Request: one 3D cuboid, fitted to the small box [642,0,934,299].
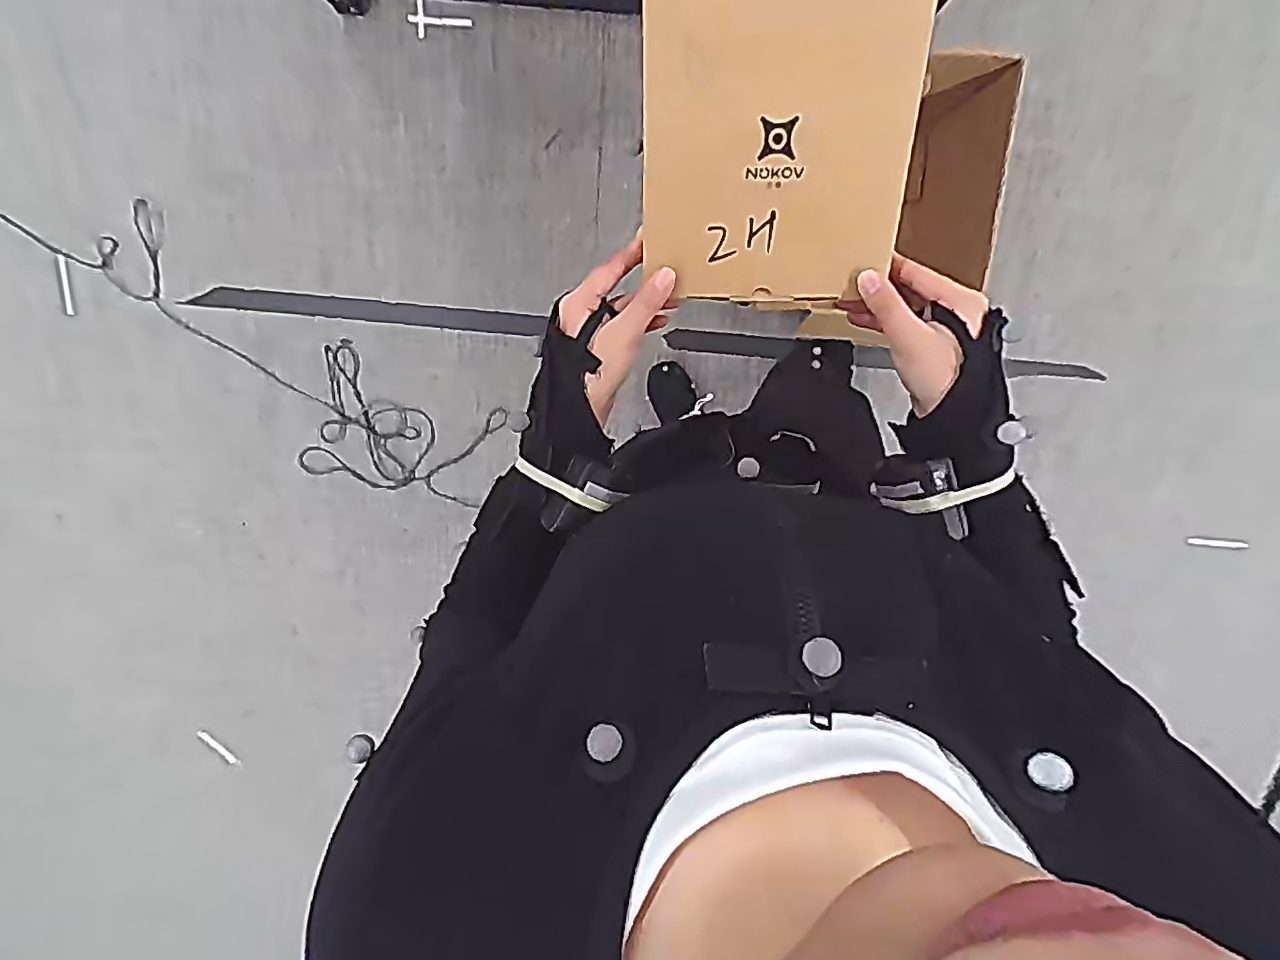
[{"bbox_3d":[0.089,-0.238,0.407,0.168,0.176,0.179,2,116,5],"label":"small box"}]
